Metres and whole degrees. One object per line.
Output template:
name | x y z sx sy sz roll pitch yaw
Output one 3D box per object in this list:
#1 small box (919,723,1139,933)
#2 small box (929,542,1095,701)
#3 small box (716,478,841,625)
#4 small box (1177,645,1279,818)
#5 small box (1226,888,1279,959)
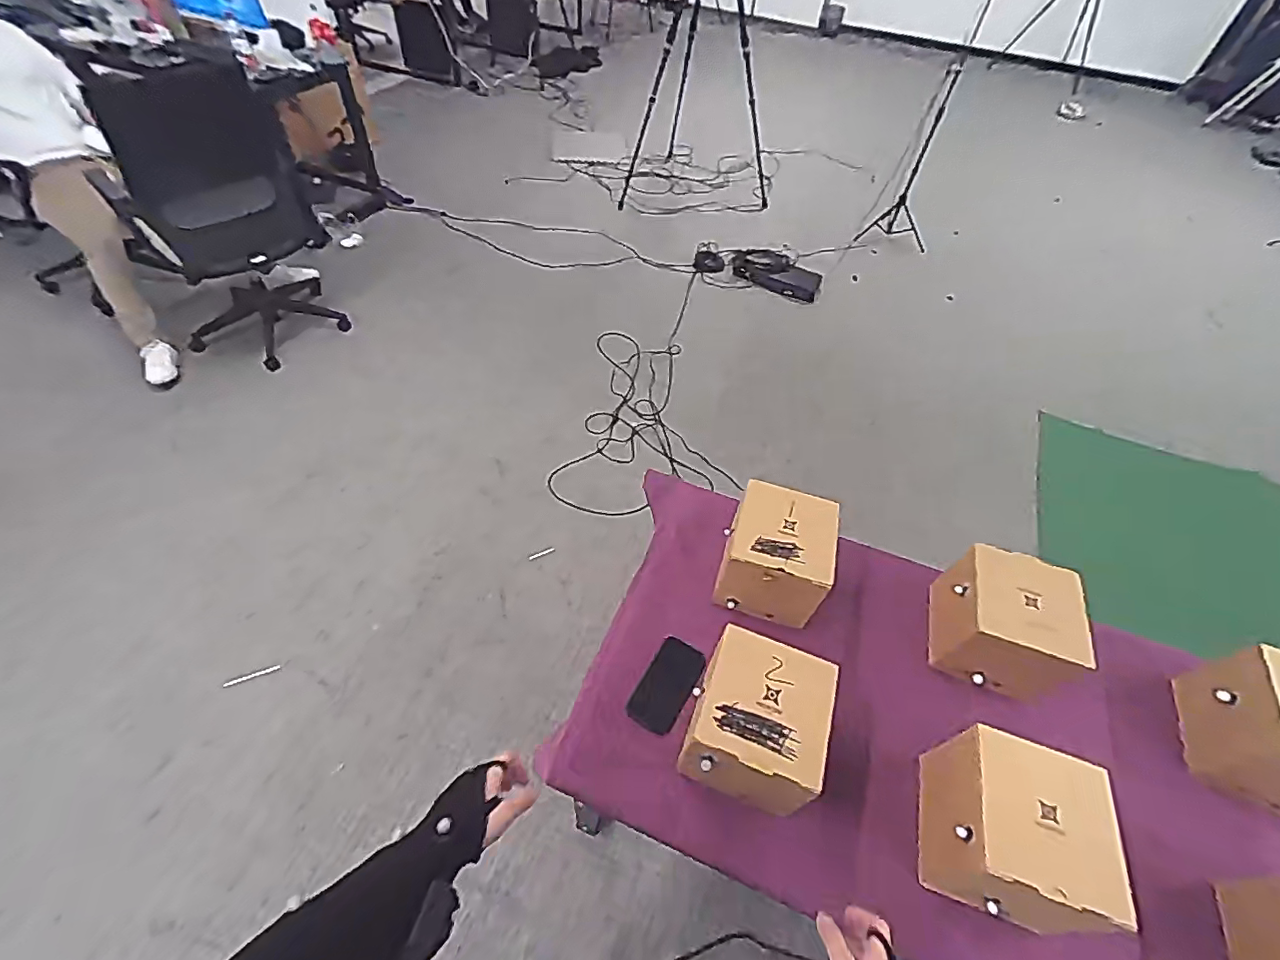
small box | 0.493 0.462 0.719 0.168 0.176 0.179 18 51 9
small box | 0.611 0.241 0.913 0.168 0.176 0.179 19 52 11
small box | 0.241 0.132 0.964 0.168 0.176 0.179 17 51 8
small box | 0.983 0.391 0.824 0.168 0.176 0.179 21 52 13
small box | 0.856 0.607 0.629 0.168 0.176 0.179 21 52 13
